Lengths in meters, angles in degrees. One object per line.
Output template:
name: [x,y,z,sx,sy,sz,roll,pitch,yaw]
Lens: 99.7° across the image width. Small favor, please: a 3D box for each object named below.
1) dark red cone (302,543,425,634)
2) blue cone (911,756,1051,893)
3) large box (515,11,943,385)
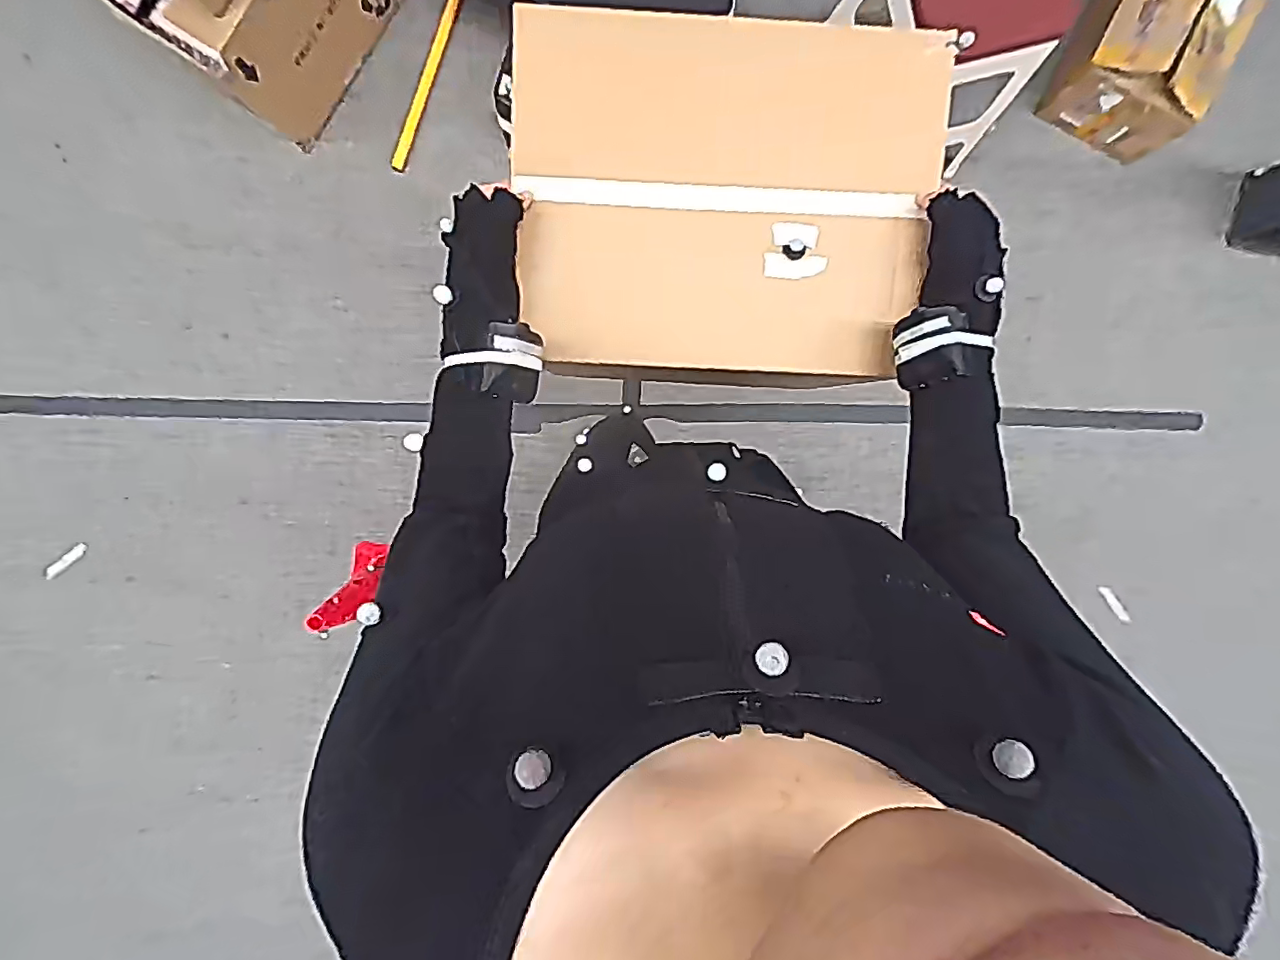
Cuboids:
dark red cone: [-0.671,0.282,1.275,0.201,0.394,0.202,7,93,-3]
blue cone: [0.880,0.892,1.386,0.192,0.380,0.193,4,93,-3]
large box: [0.075,-0.287,0.663,0.408,0.320,0.320,3,98,-2]
